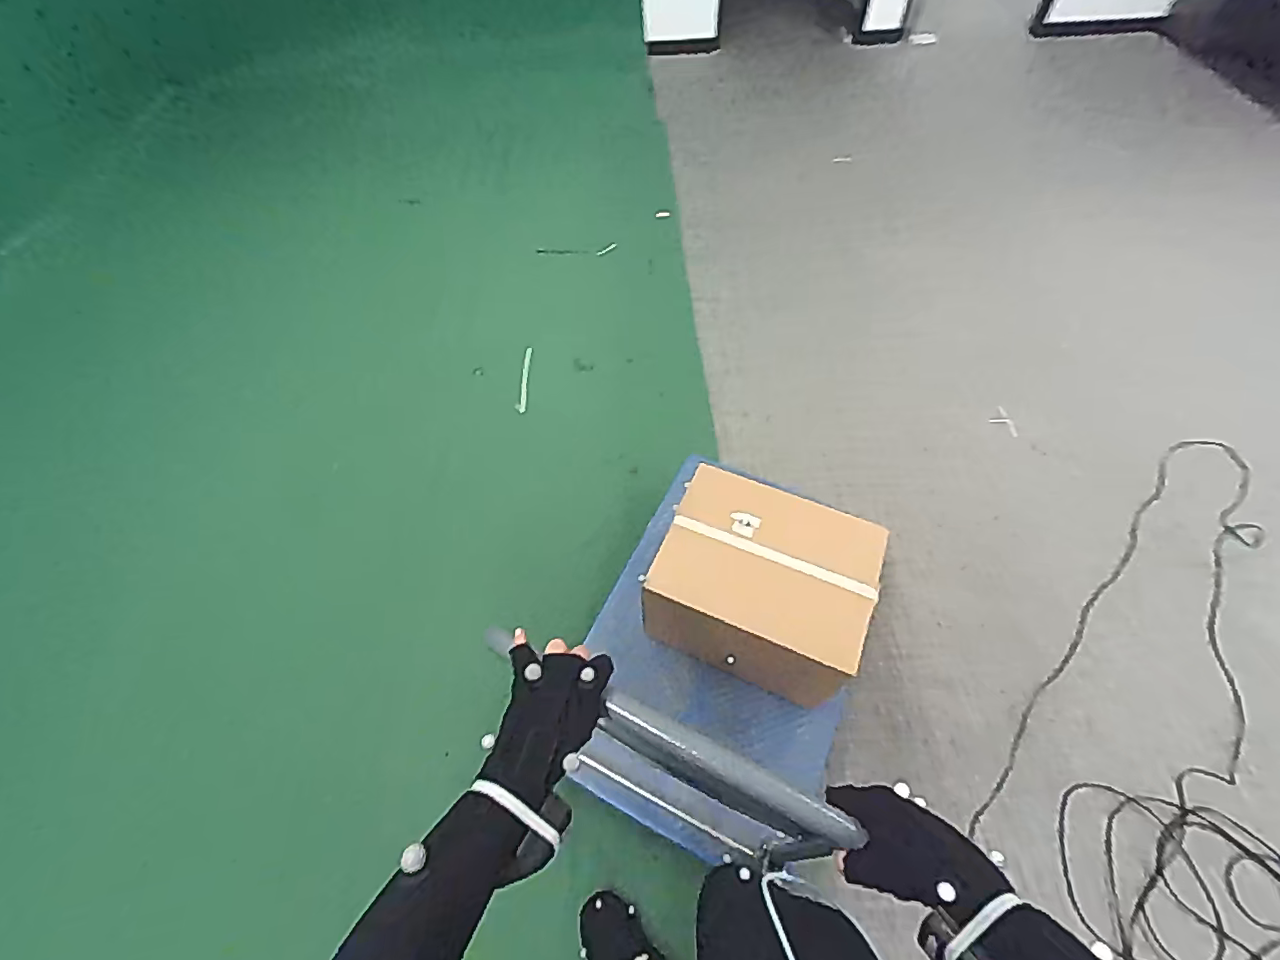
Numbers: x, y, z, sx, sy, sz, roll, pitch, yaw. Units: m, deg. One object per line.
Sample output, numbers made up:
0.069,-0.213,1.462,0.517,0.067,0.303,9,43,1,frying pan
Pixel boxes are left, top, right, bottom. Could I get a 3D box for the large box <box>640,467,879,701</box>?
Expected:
0.246,0.231,1.178,0.408,0.320,0.320,20,59,14,large box
